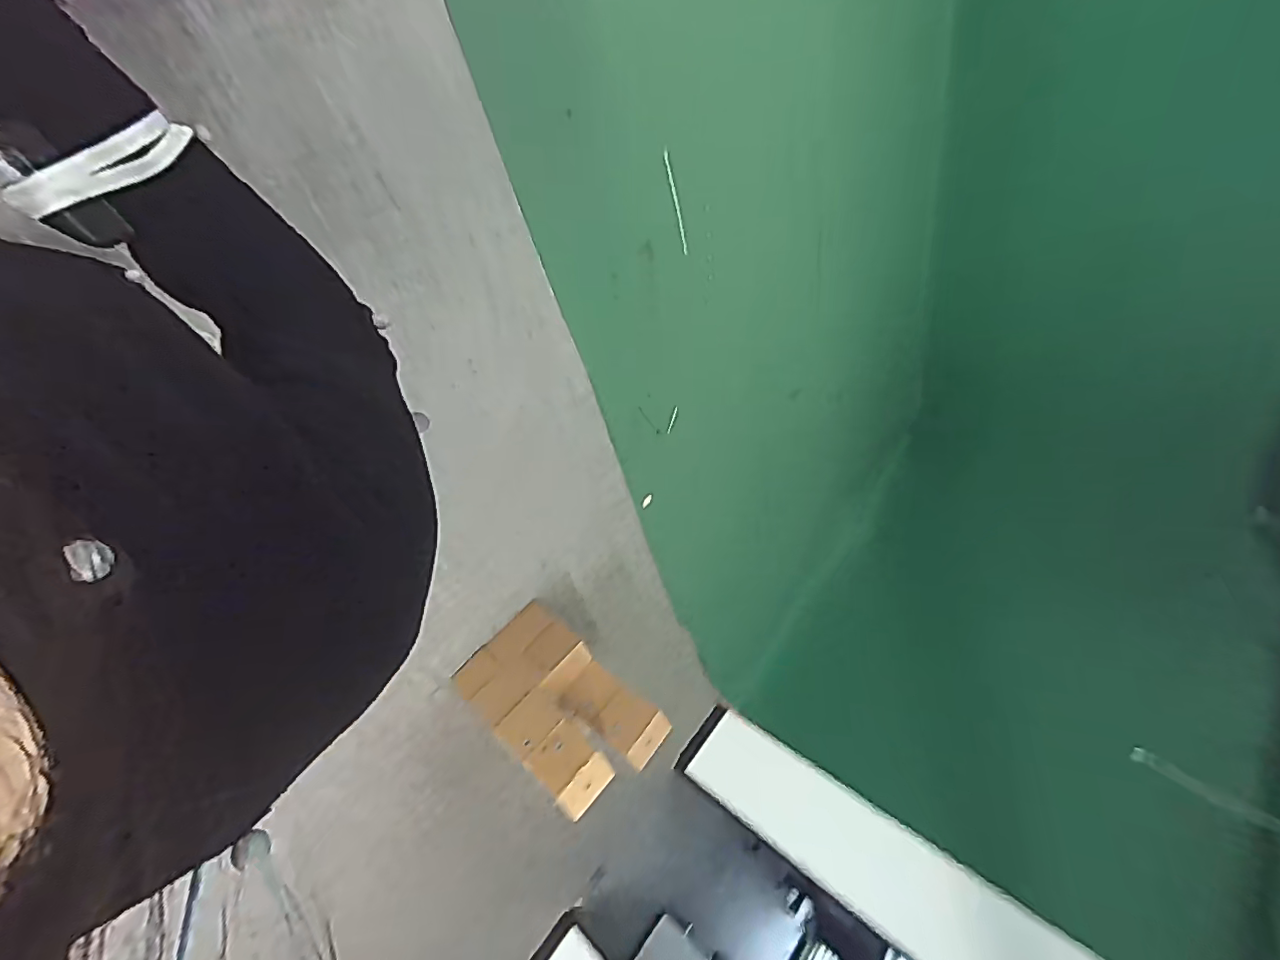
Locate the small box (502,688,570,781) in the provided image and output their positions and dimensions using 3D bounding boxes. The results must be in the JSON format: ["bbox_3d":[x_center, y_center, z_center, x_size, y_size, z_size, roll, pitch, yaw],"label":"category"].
[{"bbox_3d":[-0.321,0.817,1.745,0.179,0.176,0.168,-42,134,-26],"label":"small box"}]

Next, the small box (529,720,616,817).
[{"bbox_3d":[-0.205,0.869,1.643,0.168,0.176,0.179,-41,133,-26],"label":"small box"}]

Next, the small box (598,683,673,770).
[{"bbox_3d":[-0.020,0.830,1.832,0.179,0.176,0.168,-46,137,-25],"label":"small box"}]
